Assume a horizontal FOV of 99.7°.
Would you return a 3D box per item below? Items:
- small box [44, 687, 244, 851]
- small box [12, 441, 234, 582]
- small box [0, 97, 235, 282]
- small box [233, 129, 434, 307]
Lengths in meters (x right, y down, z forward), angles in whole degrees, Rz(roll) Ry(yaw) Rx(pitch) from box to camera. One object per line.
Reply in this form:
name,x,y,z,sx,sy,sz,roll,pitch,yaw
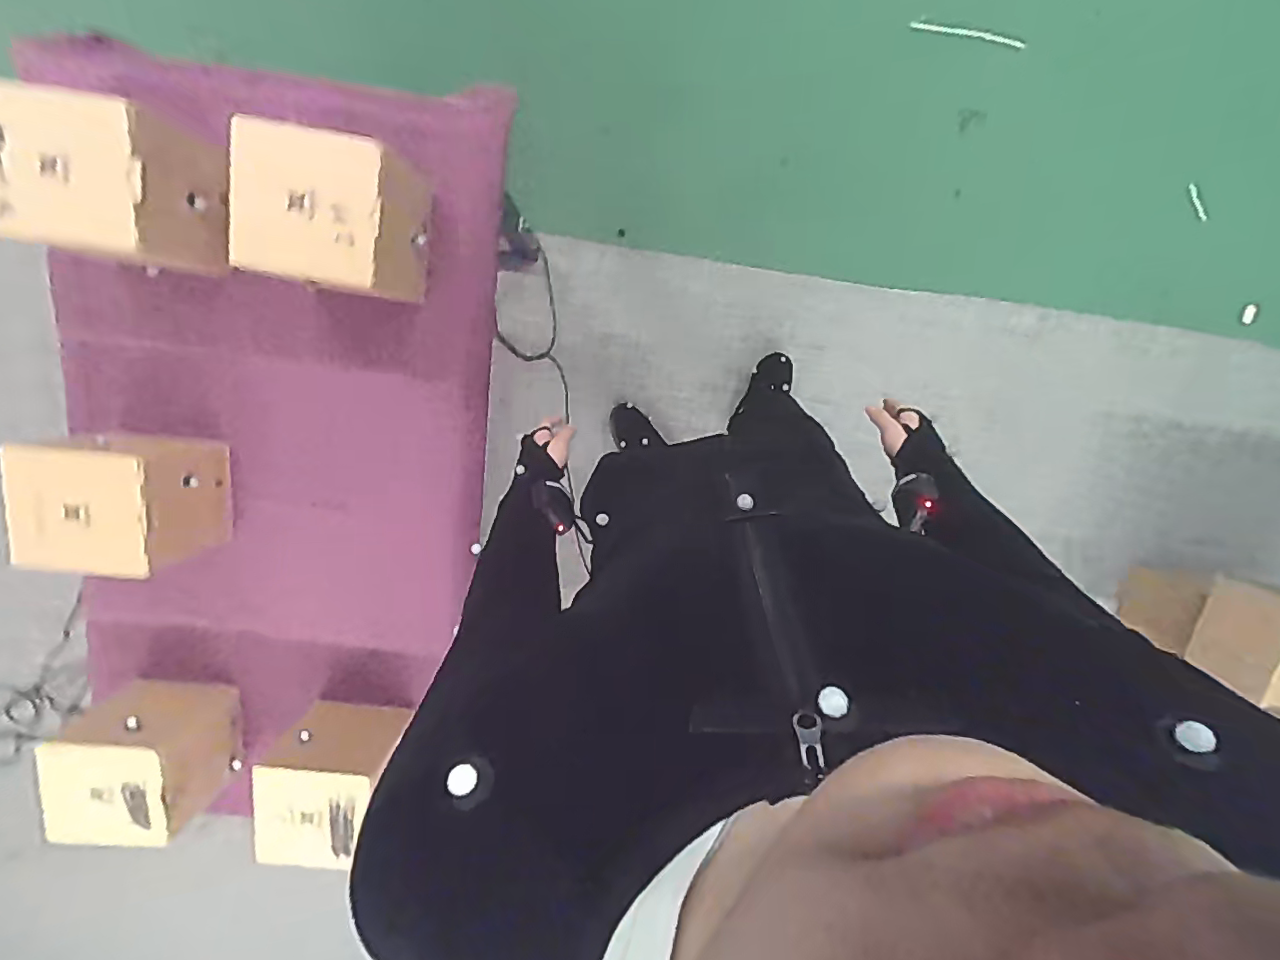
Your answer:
small box,-0.773,0.453,0.868,0.179,0.176,0.168,4,100,-2
small box,-0.736,0.037,0.795,0.179,0.176,0.168,5,99,-2
small box,-0.679,-0.369,0.720,0.179,0.176,0.168,6,100,-3
small box,-0.401,-0.336,0.729,0.179,0.176,0.168,9,101,-2
